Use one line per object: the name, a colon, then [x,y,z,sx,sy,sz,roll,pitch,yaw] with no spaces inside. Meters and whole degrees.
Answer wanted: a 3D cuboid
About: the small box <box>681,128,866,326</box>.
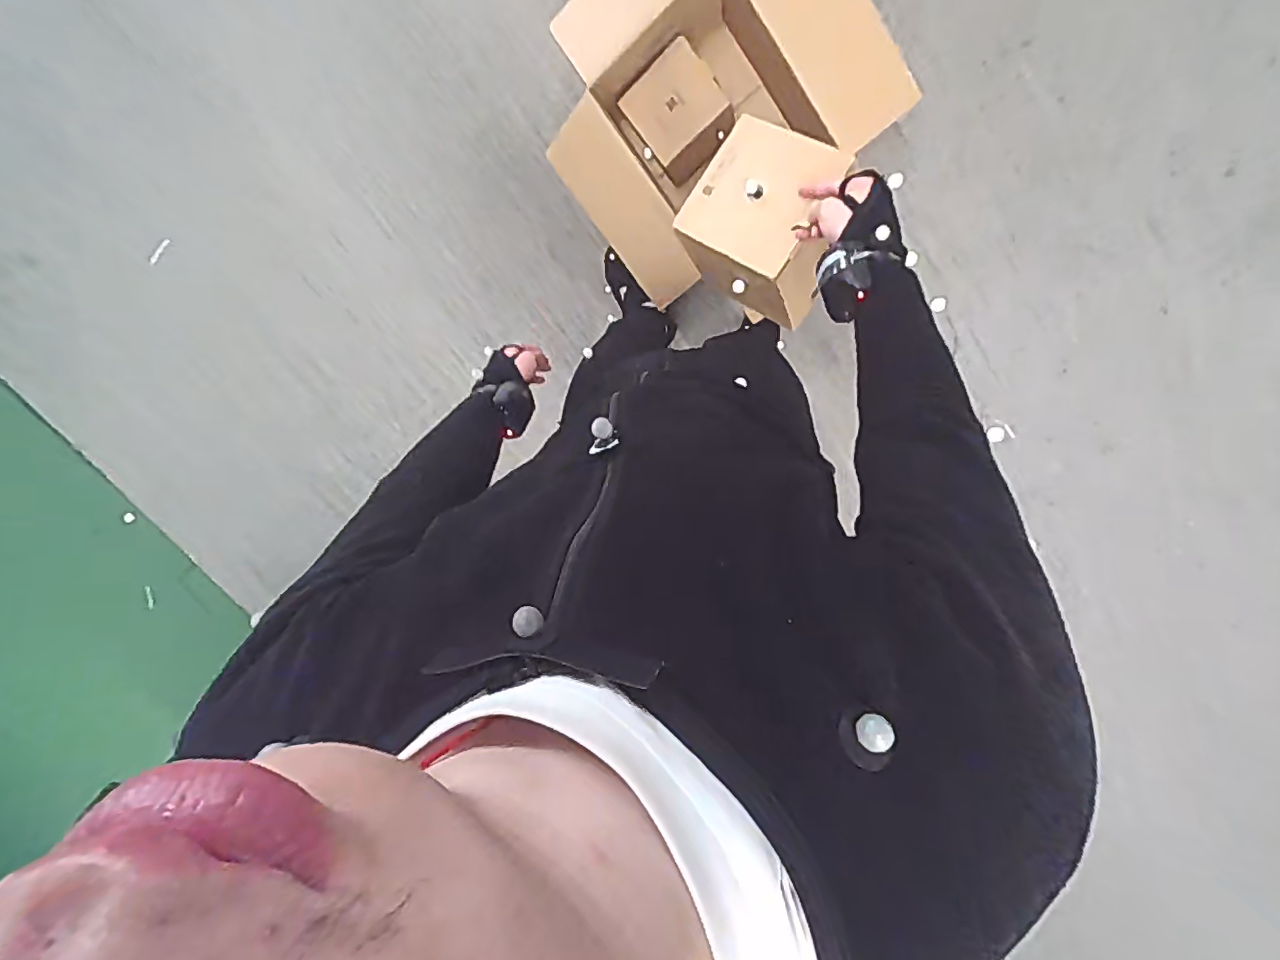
small box: [0.182,-0.344,0.739,0.176,0.179,0.168,37,101,24]
